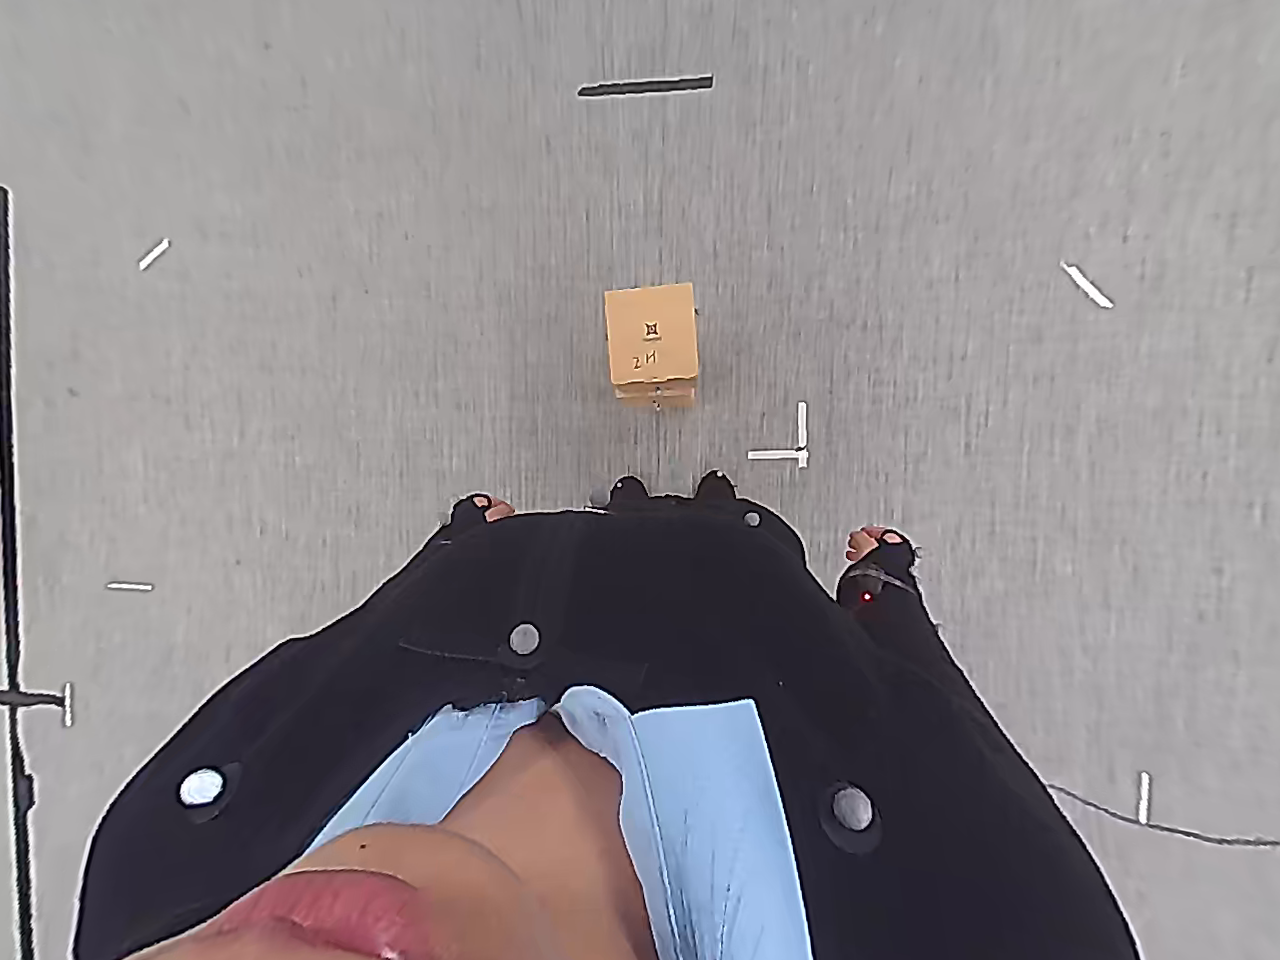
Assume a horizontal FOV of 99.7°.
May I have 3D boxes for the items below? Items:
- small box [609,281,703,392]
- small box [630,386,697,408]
[{"bbox_3d":[0.035,-0.276,1.072,0.168,0.176,0.179,-4,93,6],"label":"small box"},{"bbox_3d":[0.063,-0.282,1.400,0.168,0.176,0.179,0,92,5],"label":"small box"}]
